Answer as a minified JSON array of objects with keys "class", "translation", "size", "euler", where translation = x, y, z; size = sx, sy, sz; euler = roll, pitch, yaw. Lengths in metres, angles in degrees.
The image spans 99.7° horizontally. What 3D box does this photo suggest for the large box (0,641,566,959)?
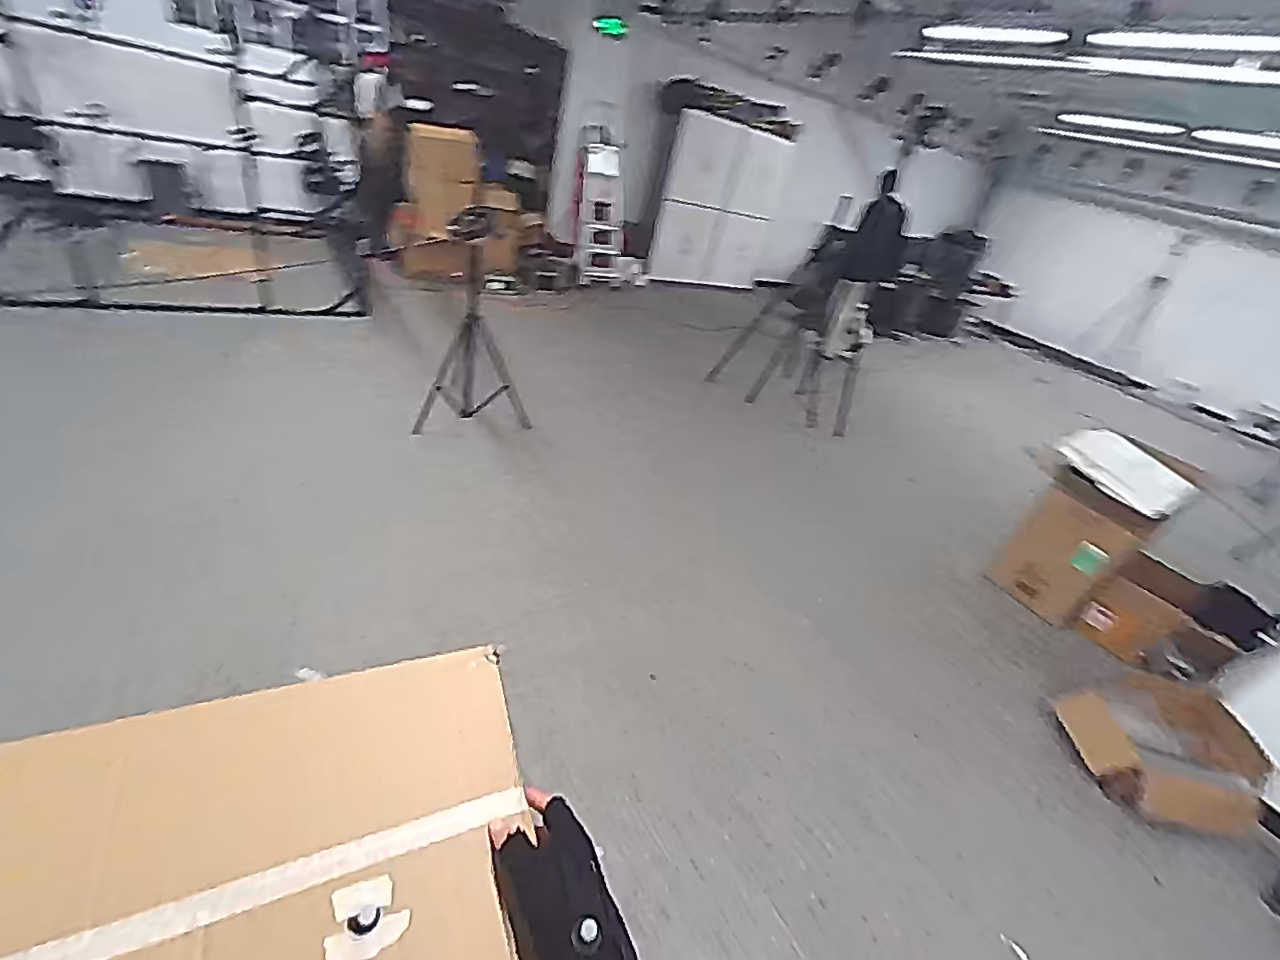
[{"class":"large box","translation":[-0.333,0.407,0.526],"size":[0.408,0.320,0.320],"euler":[-5,52,-28]}]
